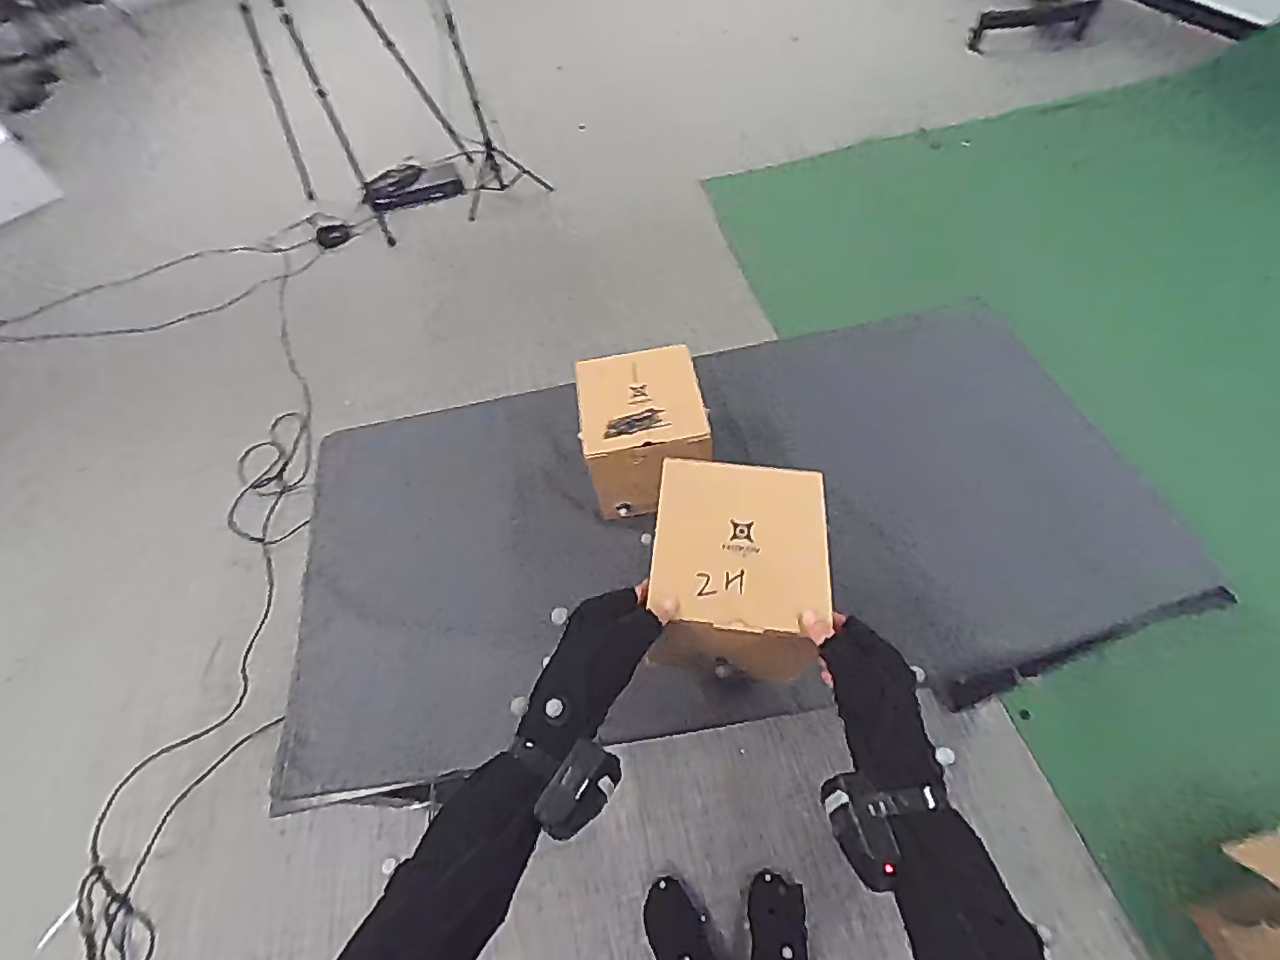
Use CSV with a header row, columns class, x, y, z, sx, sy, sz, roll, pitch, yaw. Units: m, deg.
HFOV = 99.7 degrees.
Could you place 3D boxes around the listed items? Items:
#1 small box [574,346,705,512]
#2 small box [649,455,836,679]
class,x,y,z,sx,sy,sz,roll,pitch,yaw
small box,0.003,-0.066,0.800,0.168,0.176,0.179,-10,56,0
small box,0.101,0.098,0.583,0.168,0.176,0.179,6,59,4
